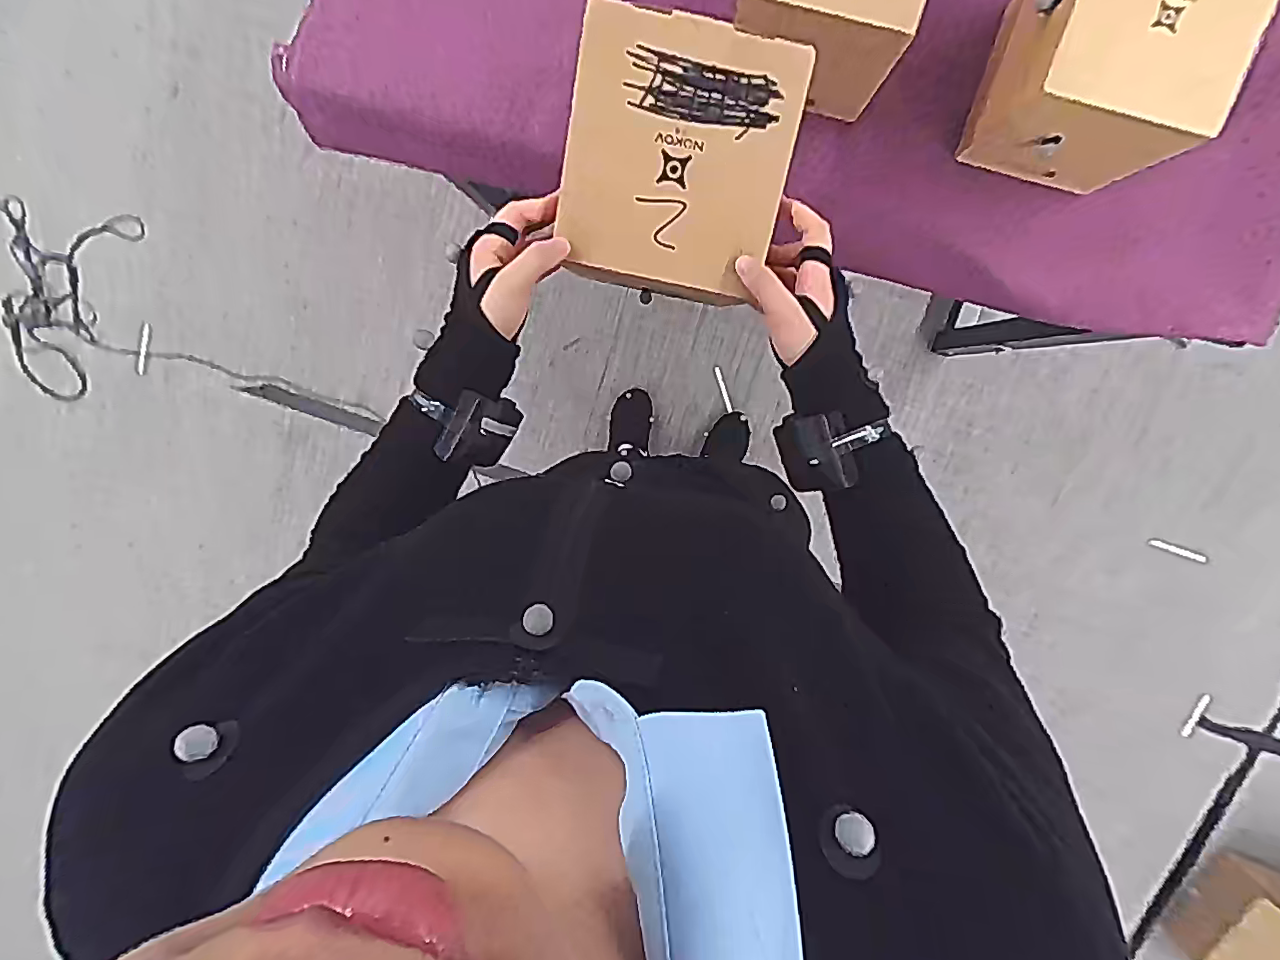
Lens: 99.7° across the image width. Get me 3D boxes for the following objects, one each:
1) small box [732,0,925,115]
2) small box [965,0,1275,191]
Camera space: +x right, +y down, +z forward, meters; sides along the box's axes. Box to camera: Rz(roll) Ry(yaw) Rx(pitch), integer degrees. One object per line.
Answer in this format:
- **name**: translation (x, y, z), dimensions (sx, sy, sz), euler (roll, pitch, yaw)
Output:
- **small box**: translation (0.200, -0.523, 0.560), dimensions (0.168, 0.176, 0.179), euler (15, 100, 0)
- **small box**: translation (0.477, -0.431, 0.561), dimensions (0.168, 0.176, 0.179), euler (16, 101, 1)
